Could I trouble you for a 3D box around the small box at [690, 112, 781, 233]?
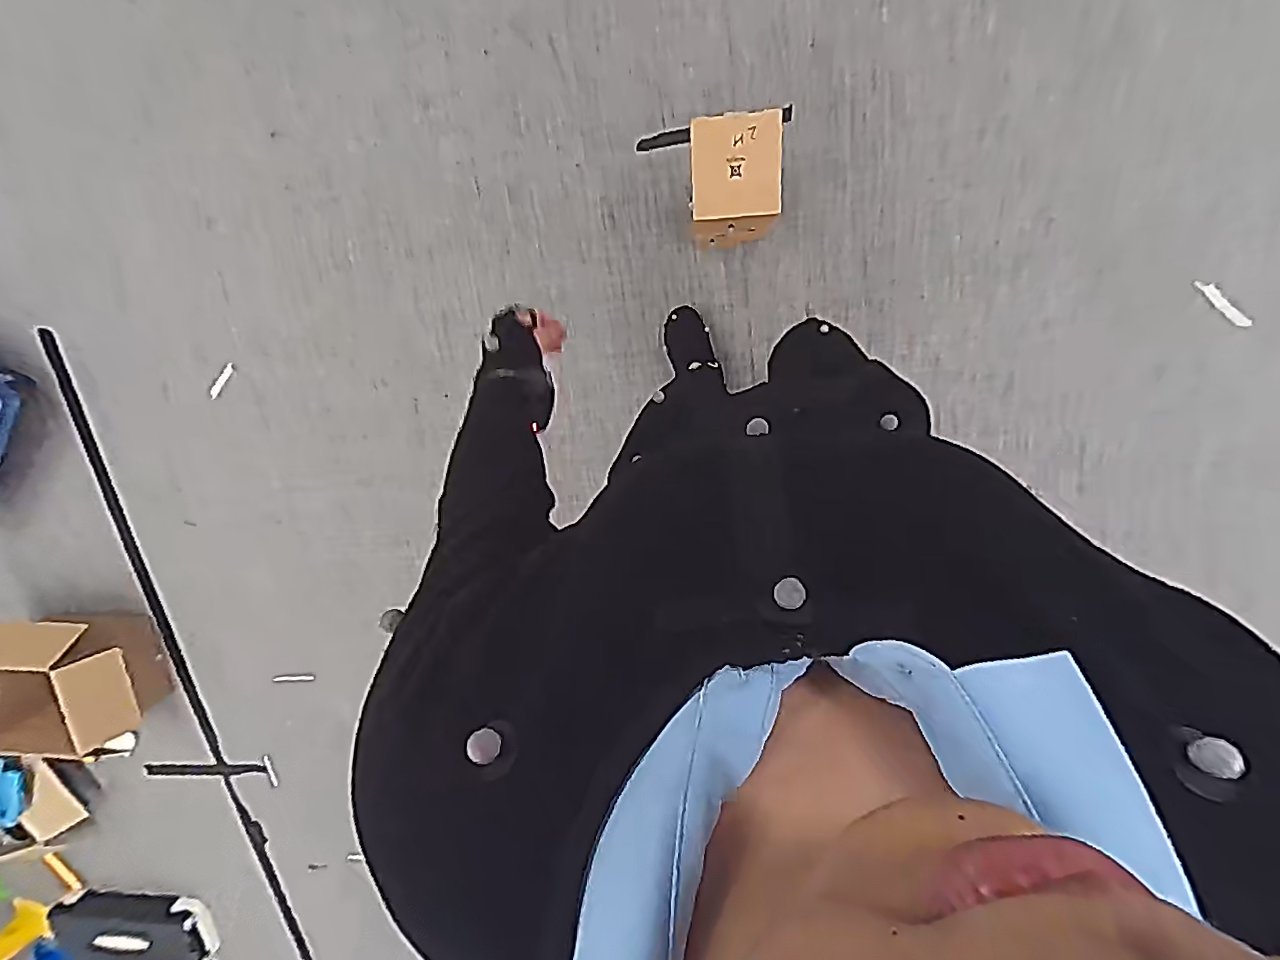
[{"bbox_3d":[0.185,-0.596,1.073,0.168,0.176,0.179,-1,105,7],"label":"small box"}]
